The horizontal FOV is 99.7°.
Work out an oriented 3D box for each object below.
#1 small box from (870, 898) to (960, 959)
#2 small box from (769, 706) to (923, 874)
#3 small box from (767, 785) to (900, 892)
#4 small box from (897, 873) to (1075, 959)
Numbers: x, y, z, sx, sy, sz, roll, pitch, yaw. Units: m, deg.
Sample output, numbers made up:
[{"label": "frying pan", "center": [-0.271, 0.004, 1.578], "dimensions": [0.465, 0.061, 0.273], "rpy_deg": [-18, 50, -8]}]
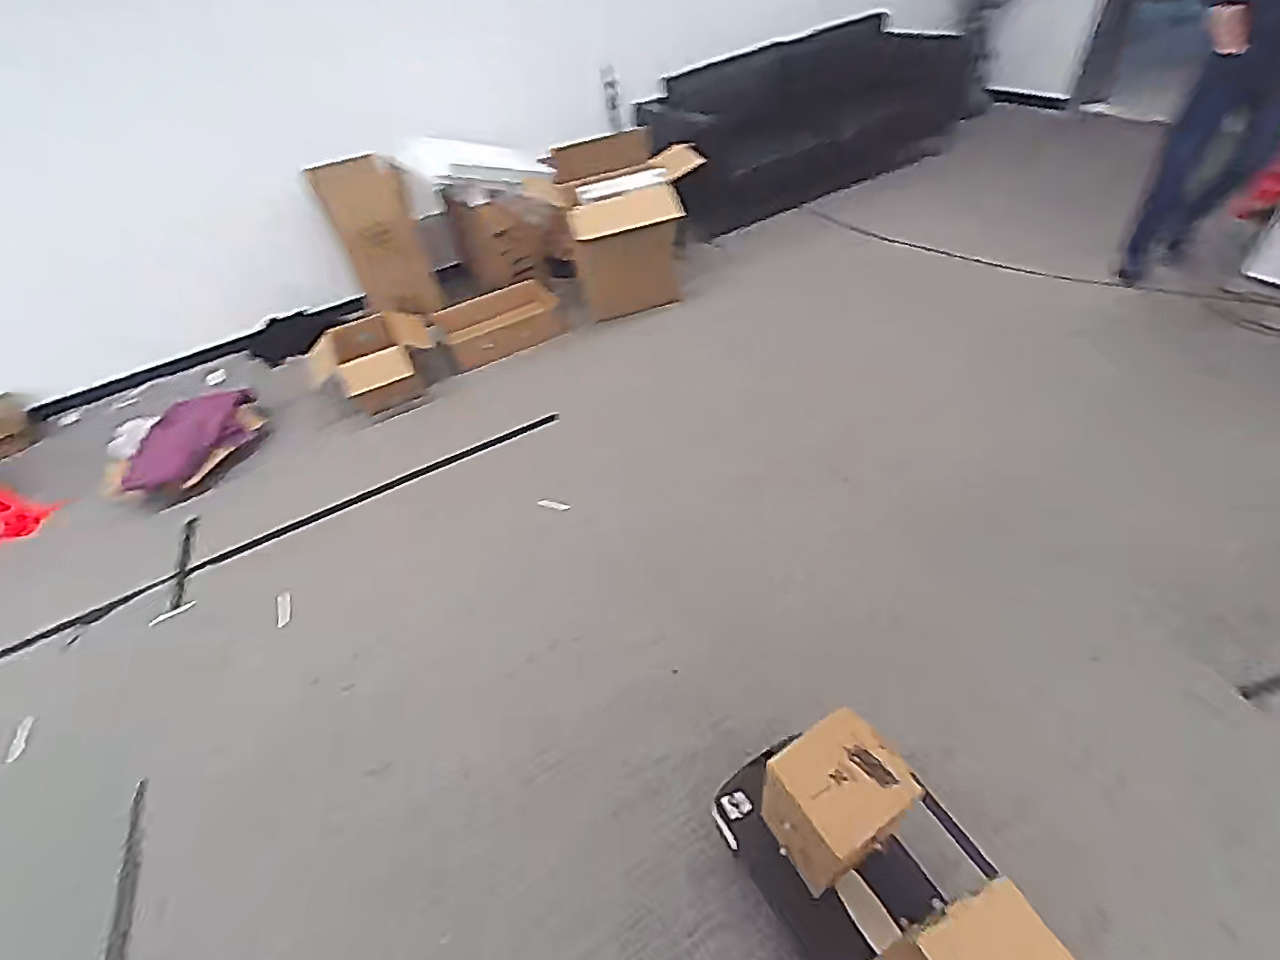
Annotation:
[{"label": "small box", "center": [0.491, 0.811, 0.852], "dimensions": [0.168, 0.176, 0.179], "rpy_deg": [-24, 44, -13]}, {"label": "small box", "center": [0.336, 0.529, 0.923], "dimensions": [0.179, 0.176, 0.168], "rpy_deg": [-27, 47, -15]}, {"label": "small box", "center": [0.355, 0.646, 1.036], "dimensions": [0.179, 0.176, 0.168], "rpy_deg": [-26, 47, -15]}, {"label": "small box", "center": [0.485, 0.690, 0.739], "dimensions": [0.168, 0.176, 0.179], "rpy_deg": [-23, 45, -12]}]
